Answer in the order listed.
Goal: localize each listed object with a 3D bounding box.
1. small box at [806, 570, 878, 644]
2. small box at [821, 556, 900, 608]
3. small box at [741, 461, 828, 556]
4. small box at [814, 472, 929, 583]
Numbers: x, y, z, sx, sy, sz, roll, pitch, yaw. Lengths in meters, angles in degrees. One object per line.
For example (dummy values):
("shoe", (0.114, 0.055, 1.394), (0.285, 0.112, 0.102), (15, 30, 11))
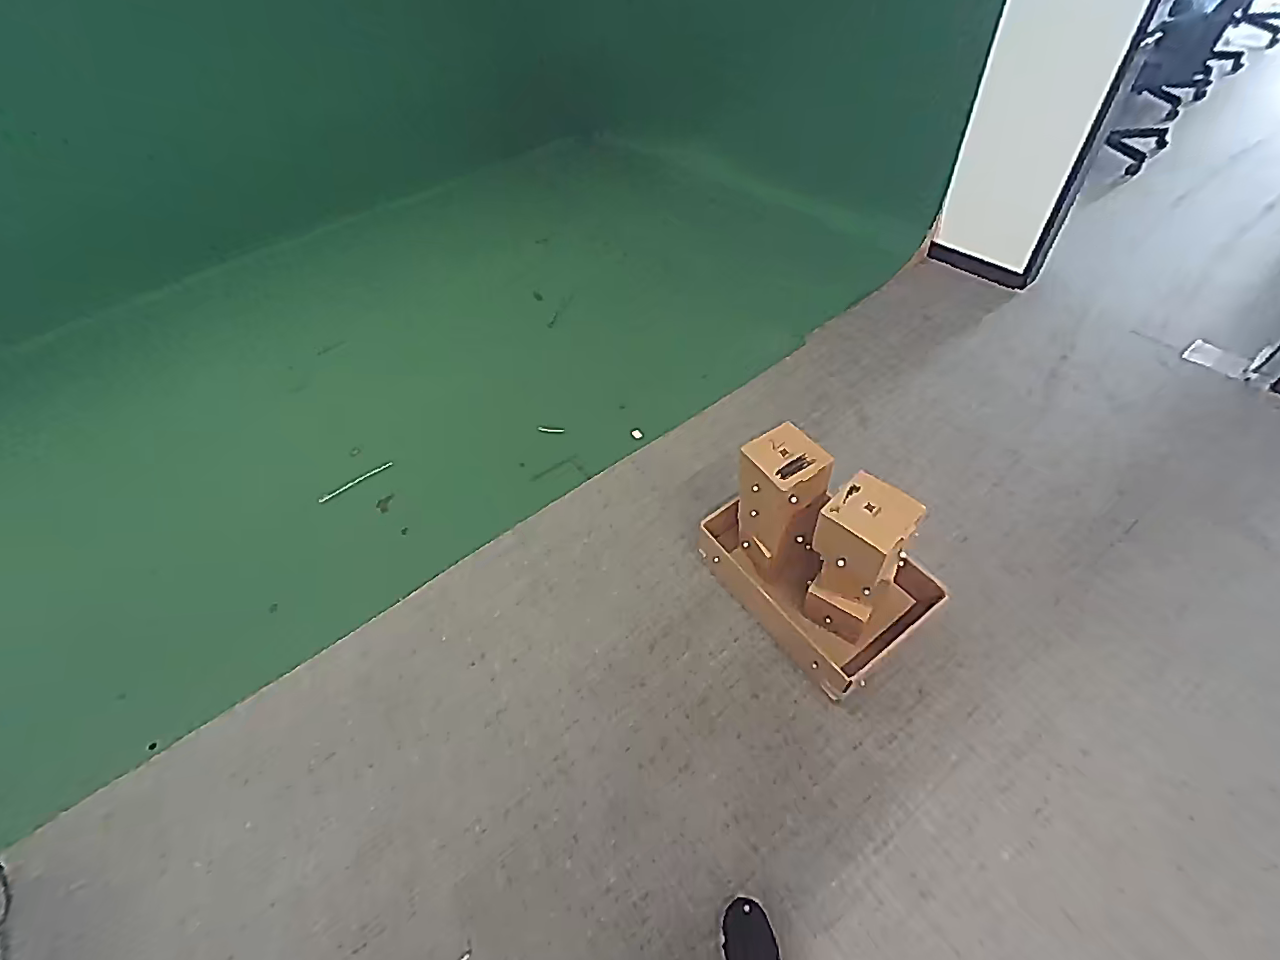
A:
("small box", (0.586, 0.332, 1.537), (0.168, 0.176, 0.179), (29, 61, 28))
("small box", (0.585, 0.209, 1.425), (0.168, 0.176, 0.179), (19, 57, 23))
("small box", (0.405, 0.085, 1.551), (0.168, 0.176, 0.179), (-29, 55, -15))
("small box", (0.543, 0.121, 1.291), (0.168, 0.176, 0.179), (-39, 56, -20))
